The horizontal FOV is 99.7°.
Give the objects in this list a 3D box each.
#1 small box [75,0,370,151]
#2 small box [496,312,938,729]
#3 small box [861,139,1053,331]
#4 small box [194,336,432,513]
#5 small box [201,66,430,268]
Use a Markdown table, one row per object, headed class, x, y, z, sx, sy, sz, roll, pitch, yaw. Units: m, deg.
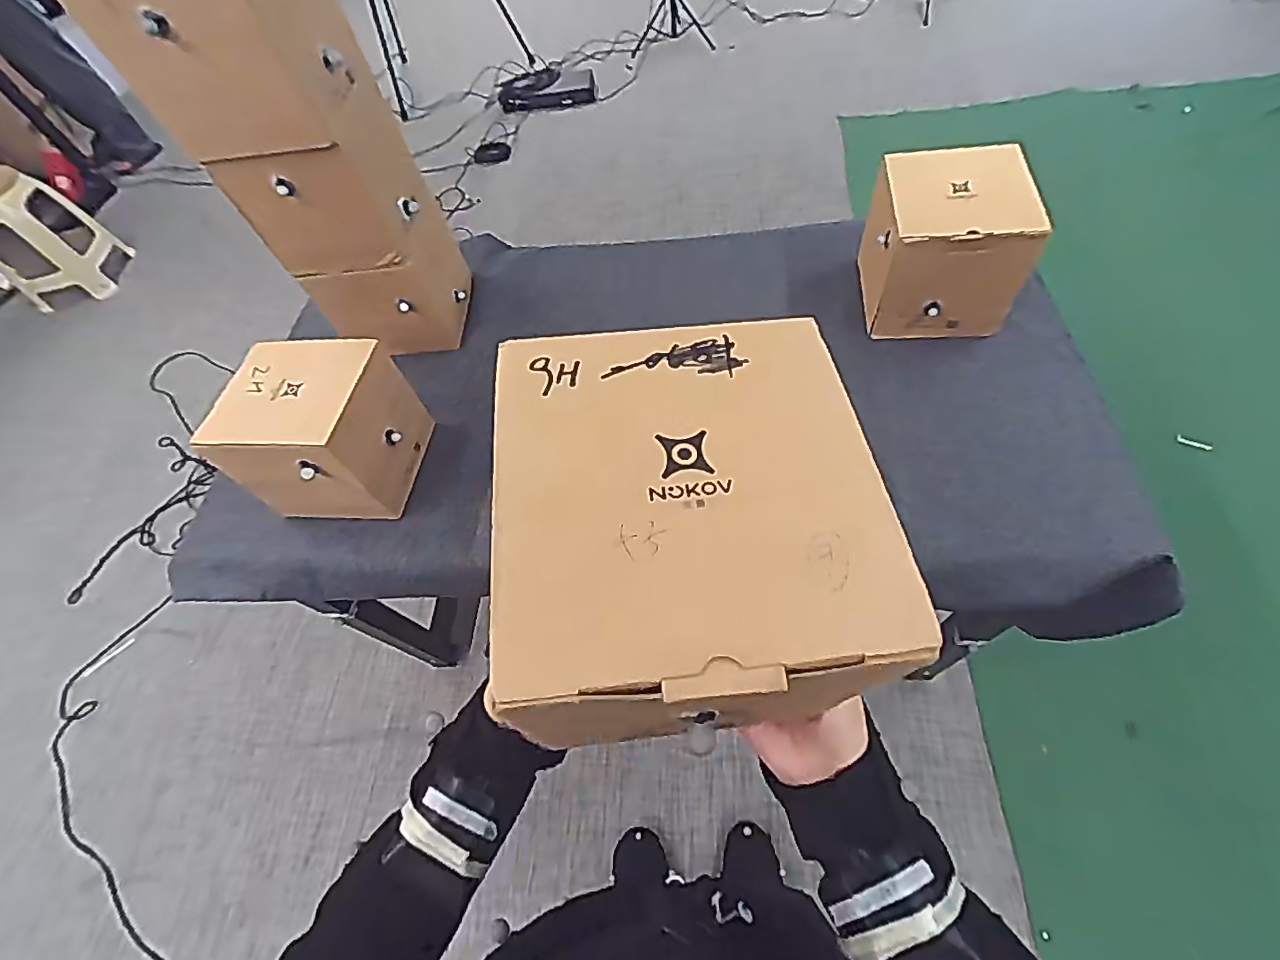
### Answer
| class | x | y | z | sx | sy | sz | roll | pitch | yaw |
| --- | --- | --- | --- | --- | --- | --- | --- | --- | --- |
| small box | -0.427 | -0.477 | 0.570 | 0.179 | 0.176 | 0.168 | -2 | 62 | 6 |
| small box | 0.021 | 0.035 | 0.304 | 0.168 | 0.176 | 0.179 | -6 | 60 | -4 |
| small box | 0.408 | -0.326 | 0.735 | 0.168 | 0.176 | 0.179 | 1 | 62 | 10 |
| small box | -0.401 | -0.067 | 0.704 | 0.179 | 0.176 | 0.168 | 1 | 57 | 9 |
| small box | -0.409 | -0.405 | 0.717 | 0.179 | 0.176 | 0.168 | -4 | 62 | 5 |
